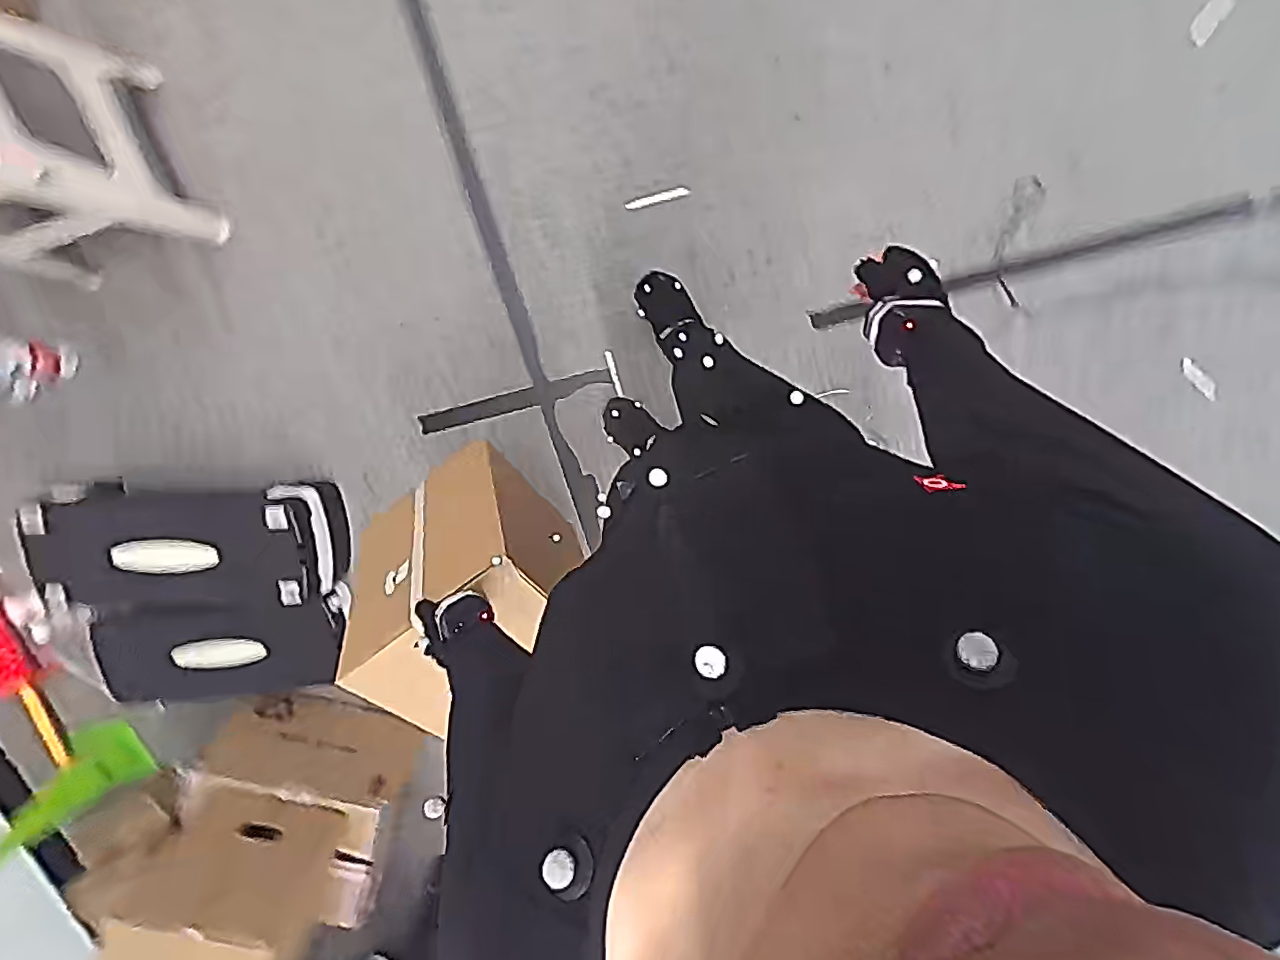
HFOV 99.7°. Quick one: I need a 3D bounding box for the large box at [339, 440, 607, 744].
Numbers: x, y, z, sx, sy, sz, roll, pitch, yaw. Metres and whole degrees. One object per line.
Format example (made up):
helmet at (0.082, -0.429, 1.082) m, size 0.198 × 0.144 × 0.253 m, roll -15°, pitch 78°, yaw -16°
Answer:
large box at (-0.311, 0.195, 1.030) m, size 0.320 × 0.408 × 0.320 m, roll -36°, pitch 126°, yaw 2°
